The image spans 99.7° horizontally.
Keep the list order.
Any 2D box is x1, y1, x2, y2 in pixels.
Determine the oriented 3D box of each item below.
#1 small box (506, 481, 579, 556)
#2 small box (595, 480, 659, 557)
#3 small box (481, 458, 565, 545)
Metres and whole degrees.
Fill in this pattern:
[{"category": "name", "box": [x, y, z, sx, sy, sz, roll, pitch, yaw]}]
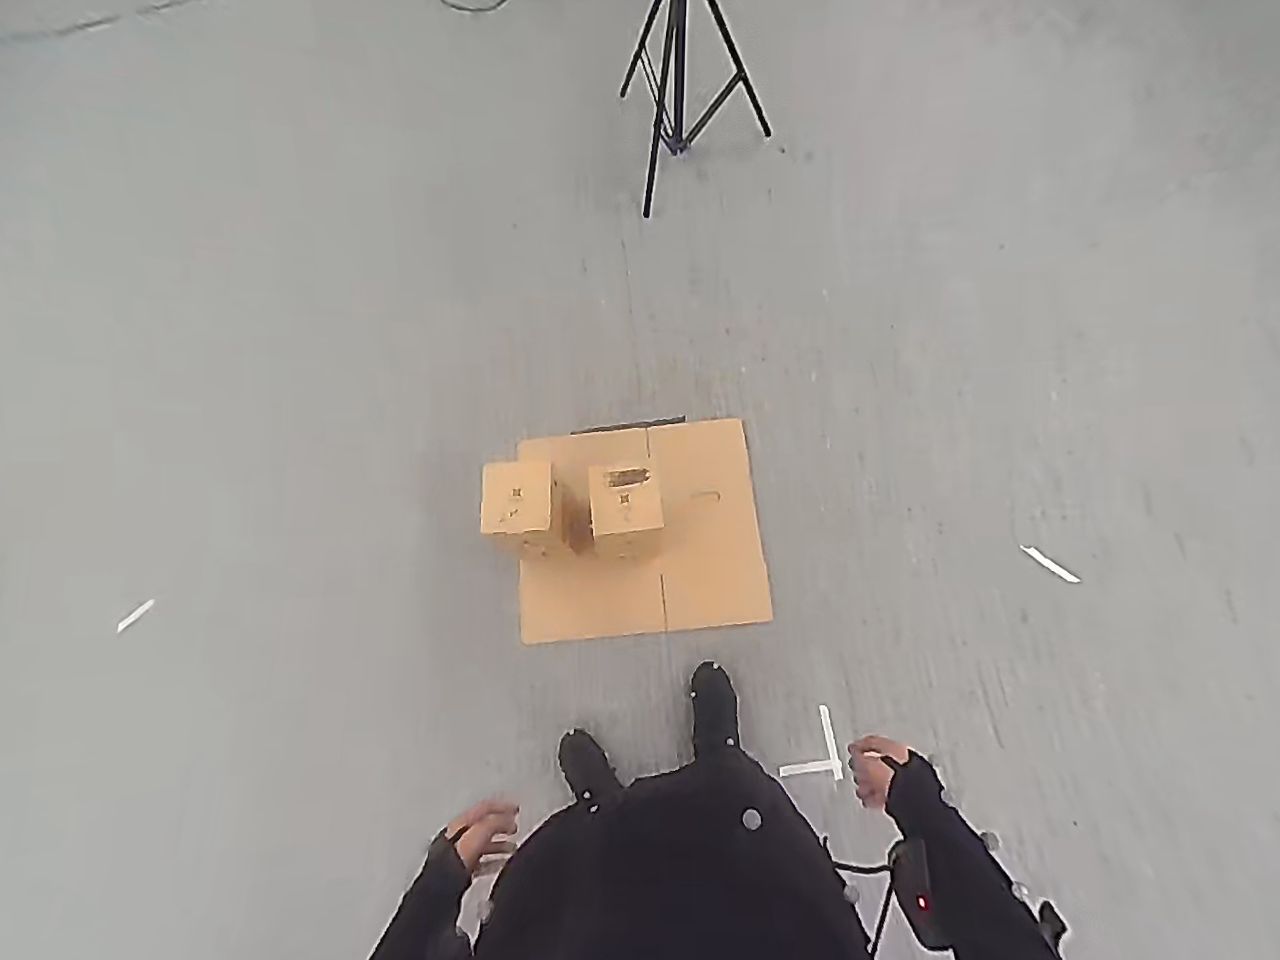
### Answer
[{"category": "small box", "box": [-0.264, 0.113, 1.493, 0.168, 0.176, 0.179, -4, 73, 2]}, {"category": "small box", "box": [-0.034, 0.110, 1.483, 0.168, 0.176, 0.179, -2, 72, 2]}, {"category": "small box", "box": [-0.282, 0.056, 1.339, 0.168, 0.176, 0.179, -3, 72, 3]}]
